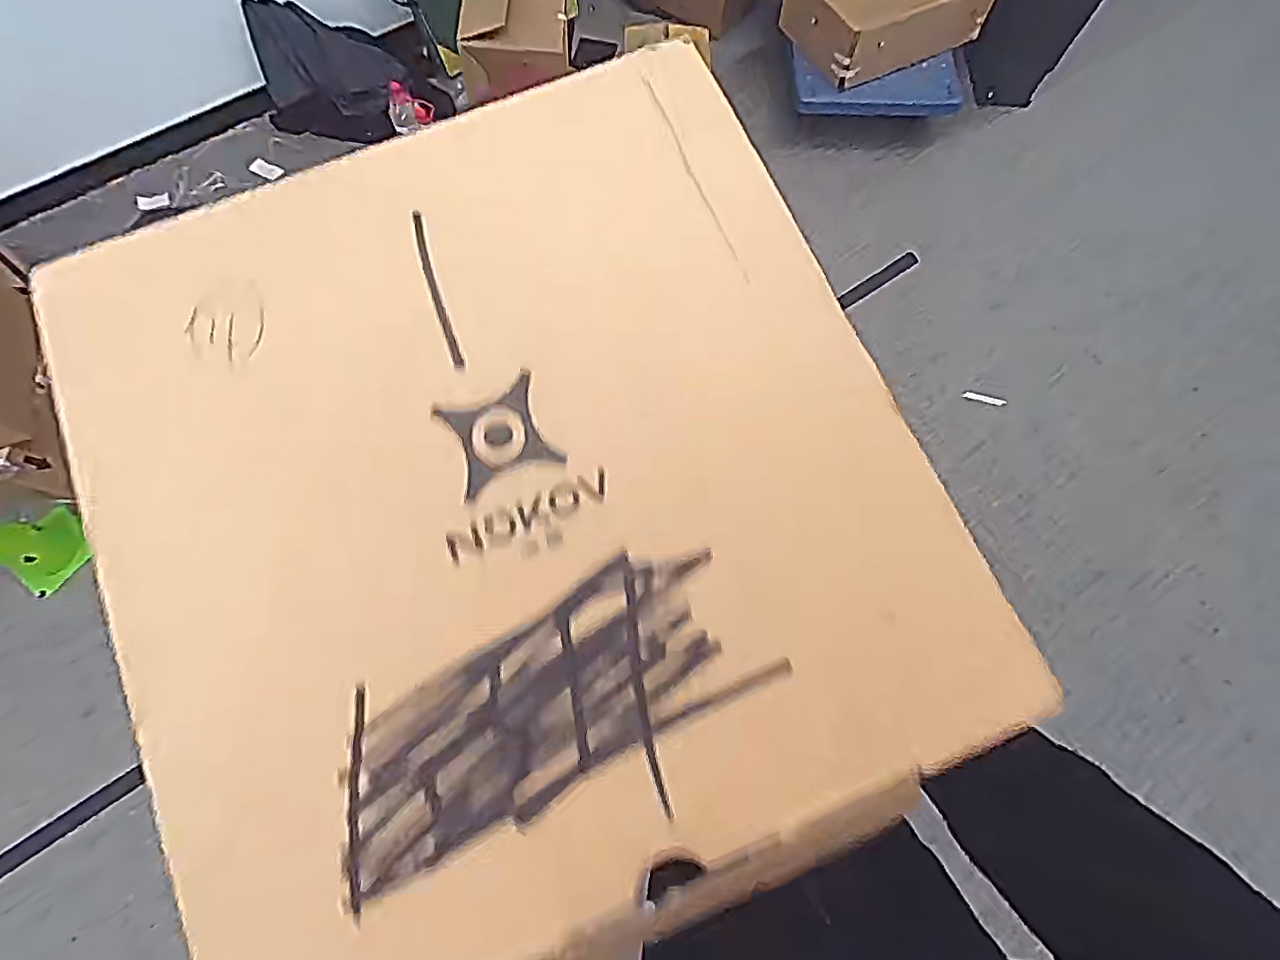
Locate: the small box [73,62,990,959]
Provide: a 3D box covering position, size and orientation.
[{"bbox_3d":[-0.030,0.011,0.204,0.168,0.176,0.179,-23,81,-5],"label":"small box"}]
